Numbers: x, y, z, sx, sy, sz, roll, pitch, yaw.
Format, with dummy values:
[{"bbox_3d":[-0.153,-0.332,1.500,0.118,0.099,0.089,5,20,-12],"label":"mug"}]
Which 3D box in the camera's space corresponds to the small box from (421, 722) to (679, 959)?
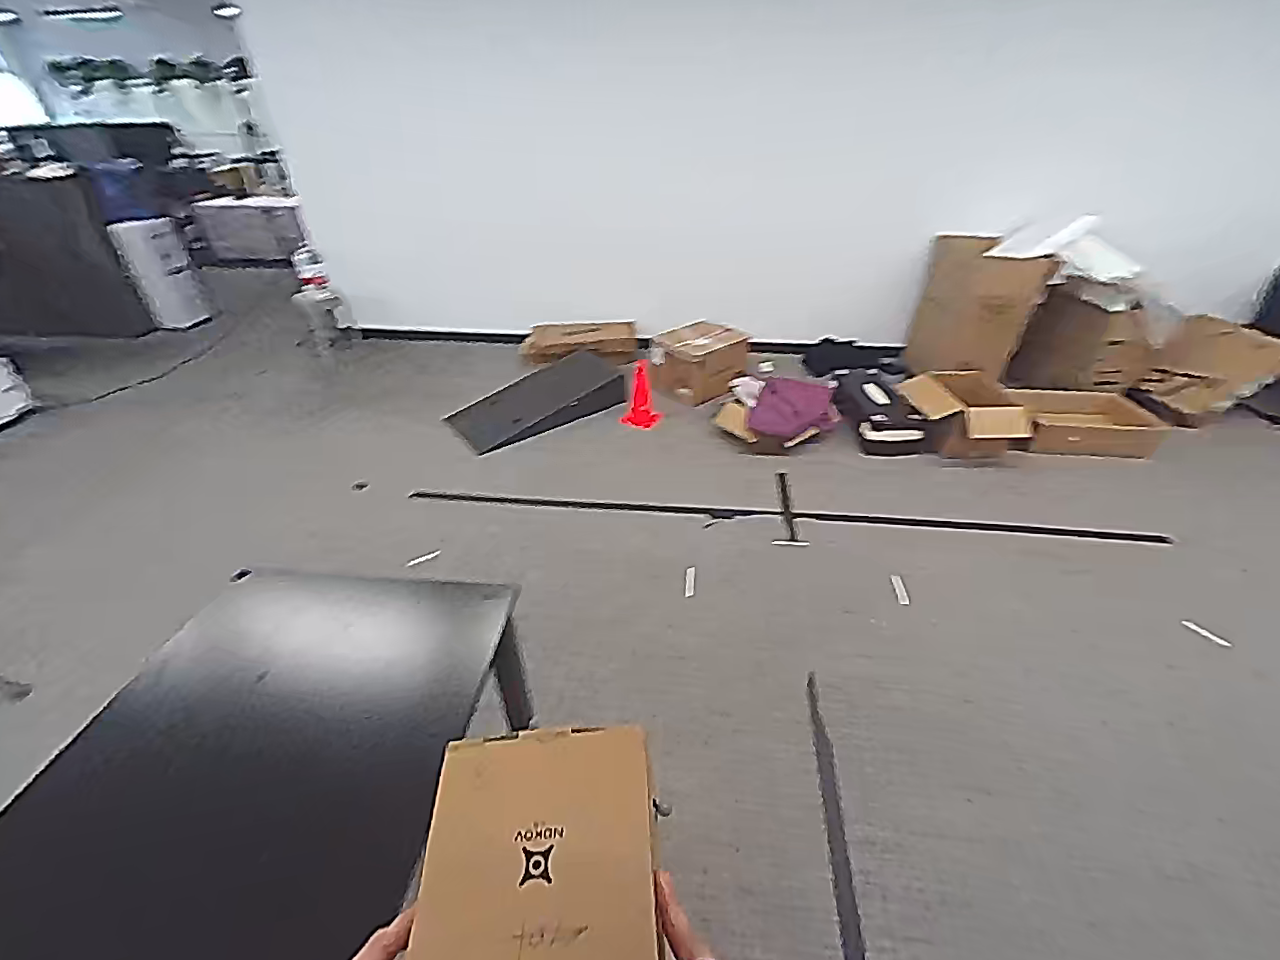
[{"bbox_3d":[-0.057,0.325,0.445,0.168,0.176,0.179,-6,44,2],"label":"small box"}]
